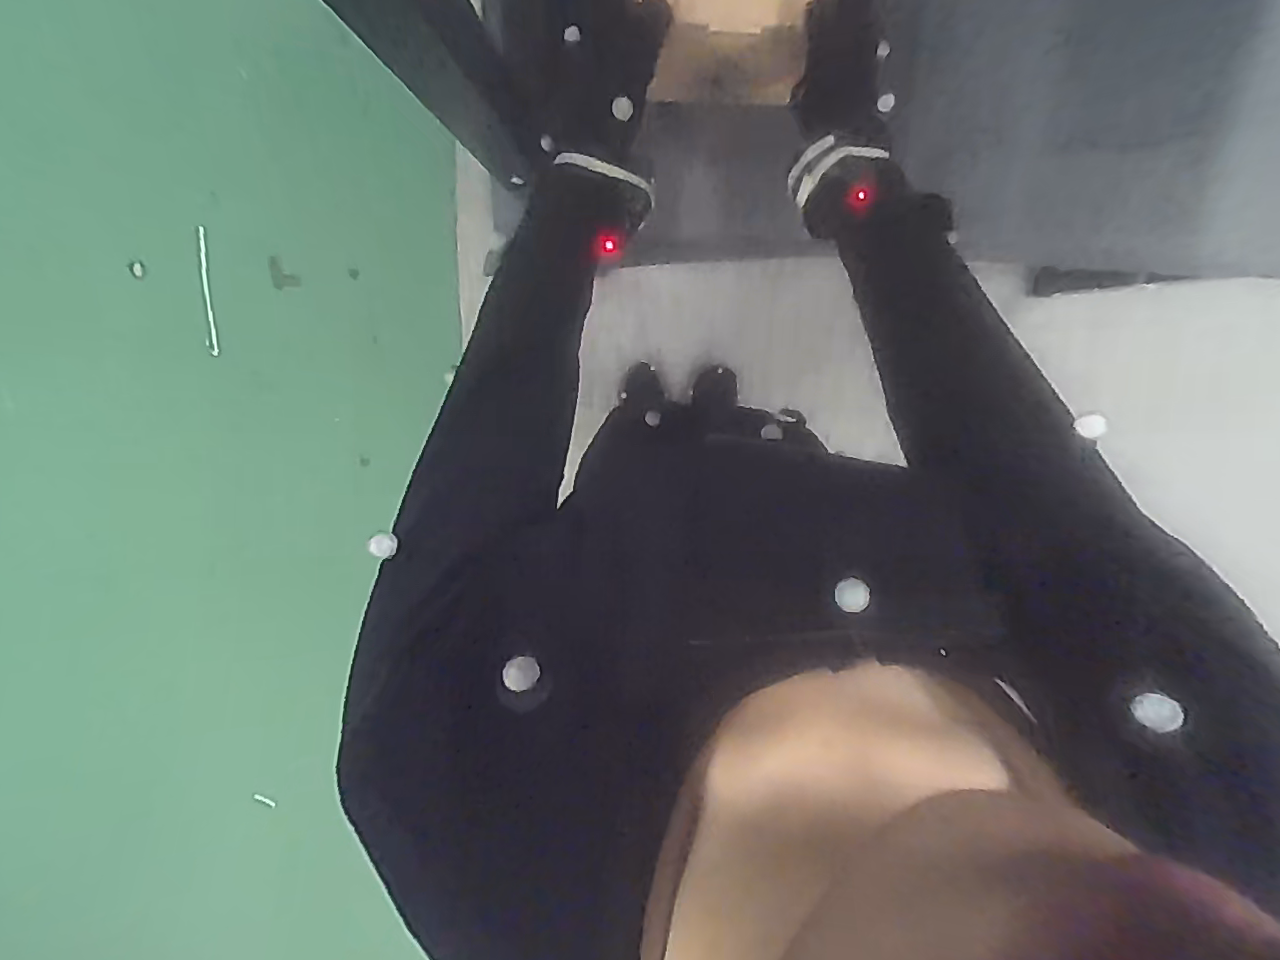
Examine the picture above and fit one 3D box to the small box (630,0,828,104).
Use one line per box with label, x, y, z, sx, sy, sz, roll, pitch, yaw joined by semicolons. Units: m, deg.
small box;0.078;-0.484;0.500;0.168;0.176;0.179;2;106;2
